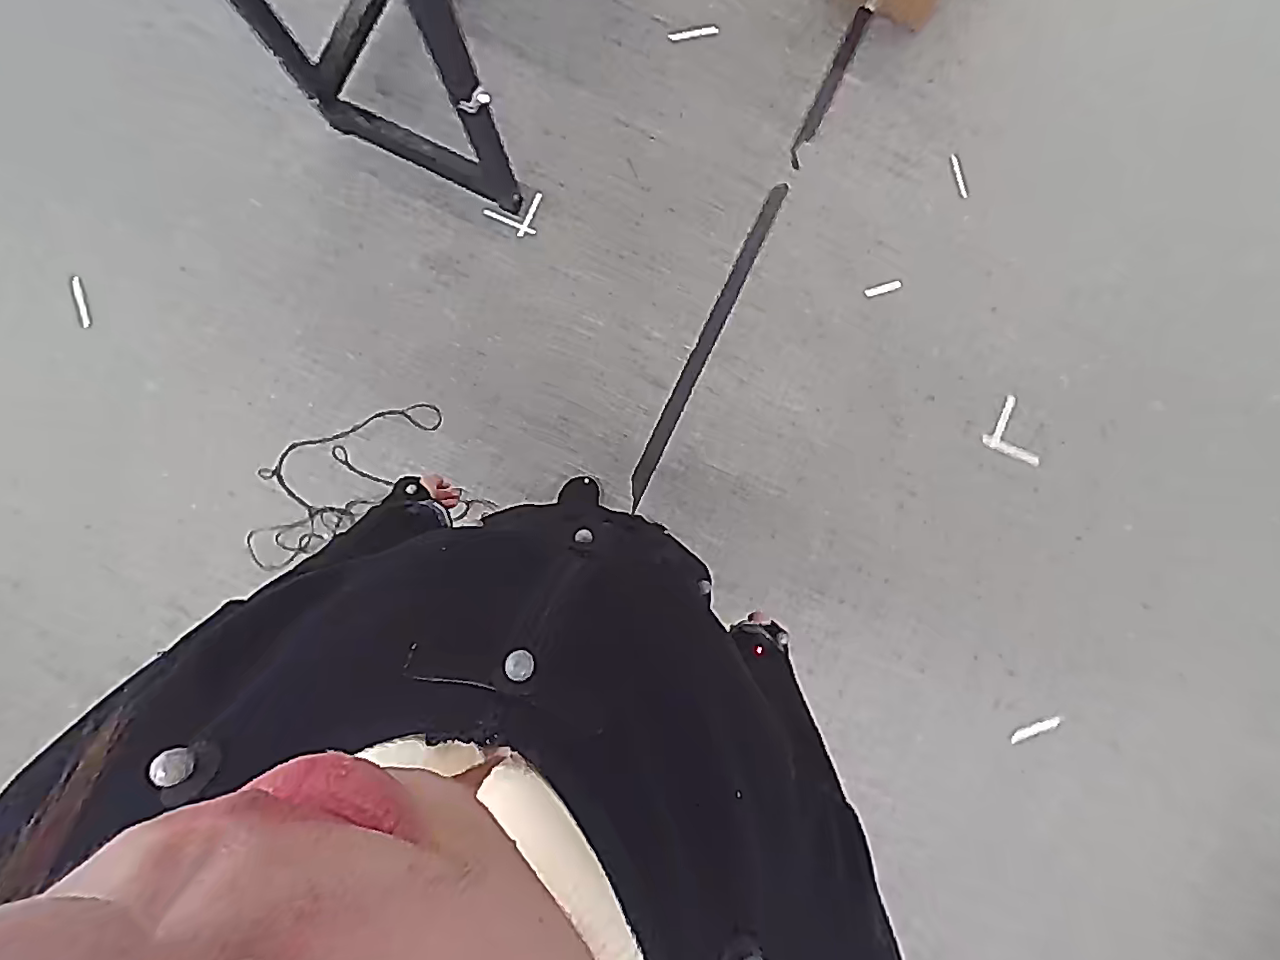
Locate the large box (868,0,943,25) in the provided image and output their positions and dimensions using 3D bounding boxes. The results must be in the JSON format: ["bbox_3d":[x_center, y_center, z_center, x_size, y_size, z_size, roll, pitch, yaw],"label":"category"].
[{"bbox_3d":[0.762,-1.529,1.393,0.320,0.320,0.408,27,88,-2],"label":"large box"}]
